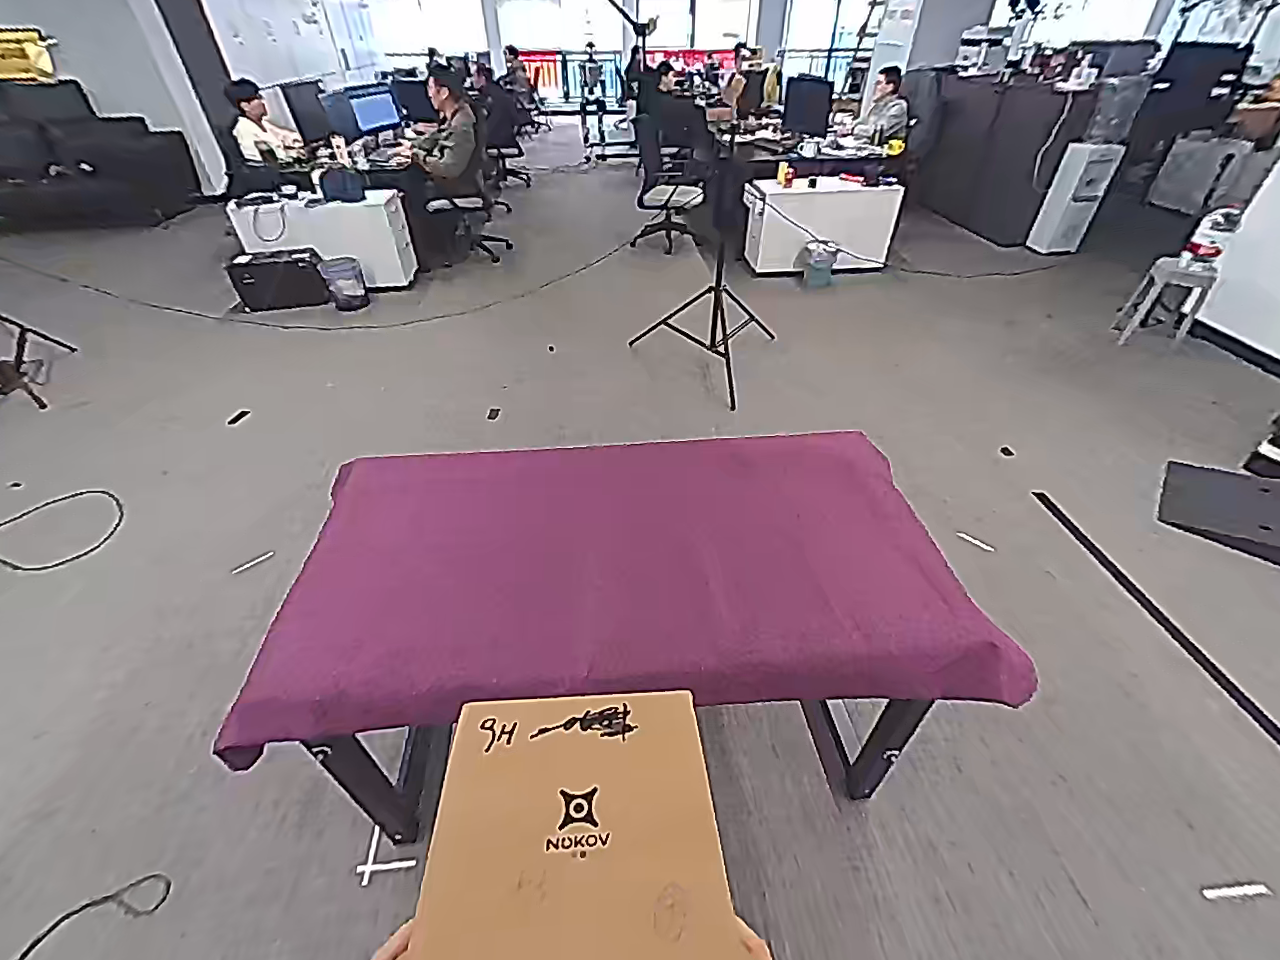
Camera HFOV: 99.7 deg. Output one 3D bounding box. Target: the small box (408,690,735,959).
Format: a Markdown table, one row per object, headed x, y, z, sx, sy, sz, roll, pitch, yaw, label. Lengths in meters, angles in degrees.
| x | y | z | sx | sy | sz | roll | pitch | yaw | label |
| --- | --- | --- | --- | --- | --- | --- | --- | --- | --- |
| -0.039 | 0.271 | 0.364 | 0.168 | 0.176 | 0.179 | -1 | 32 | -5 | small box |
